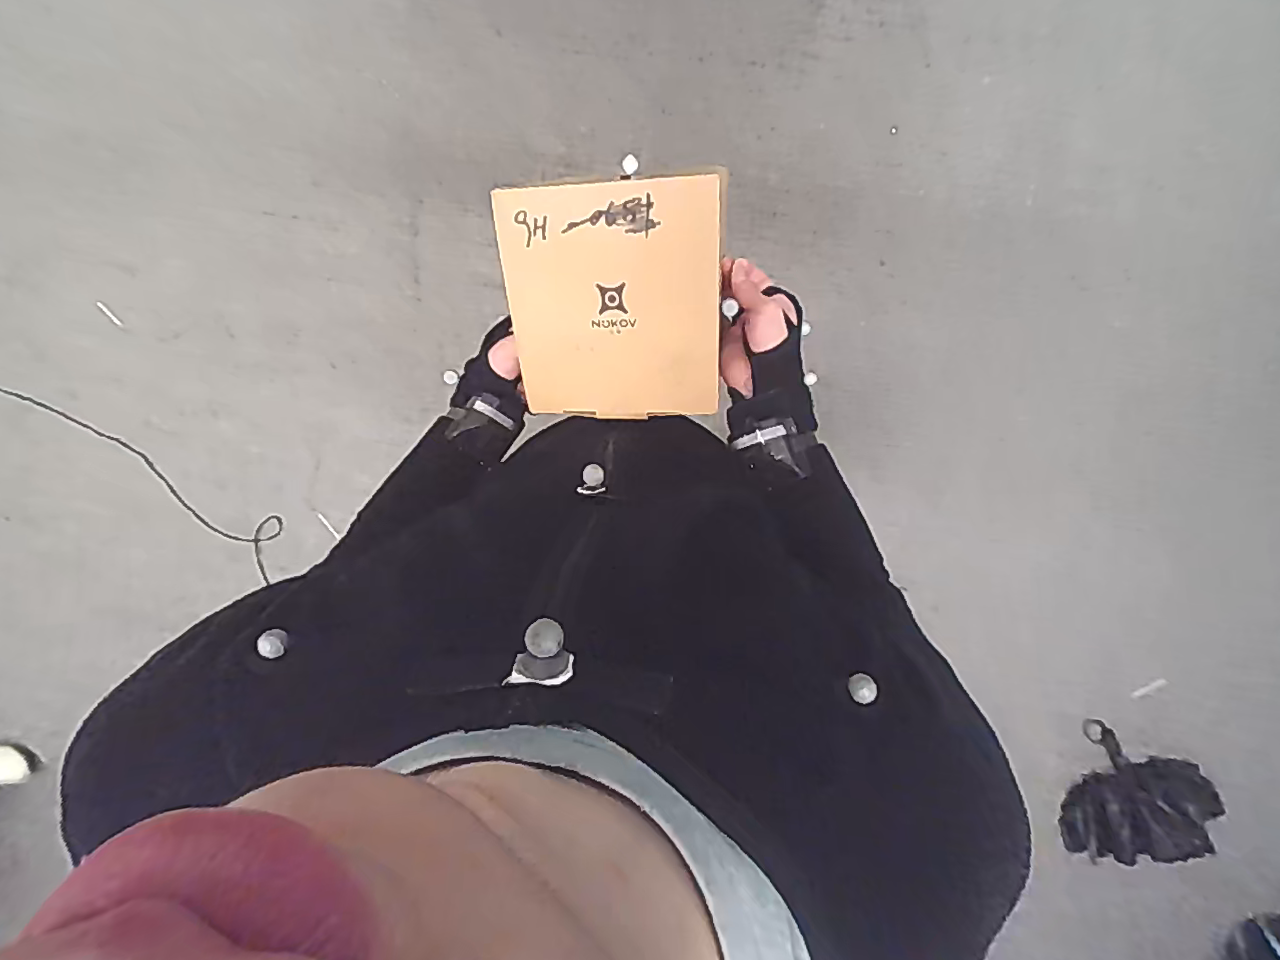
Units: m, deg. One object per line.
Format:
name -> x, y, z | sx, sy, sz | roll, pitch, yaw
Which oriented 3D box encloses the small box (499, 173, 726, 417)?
small box -> -0.008, -0.173, 0.496 | 0.168, 0.176, 0.179 | 1, 122, 9
